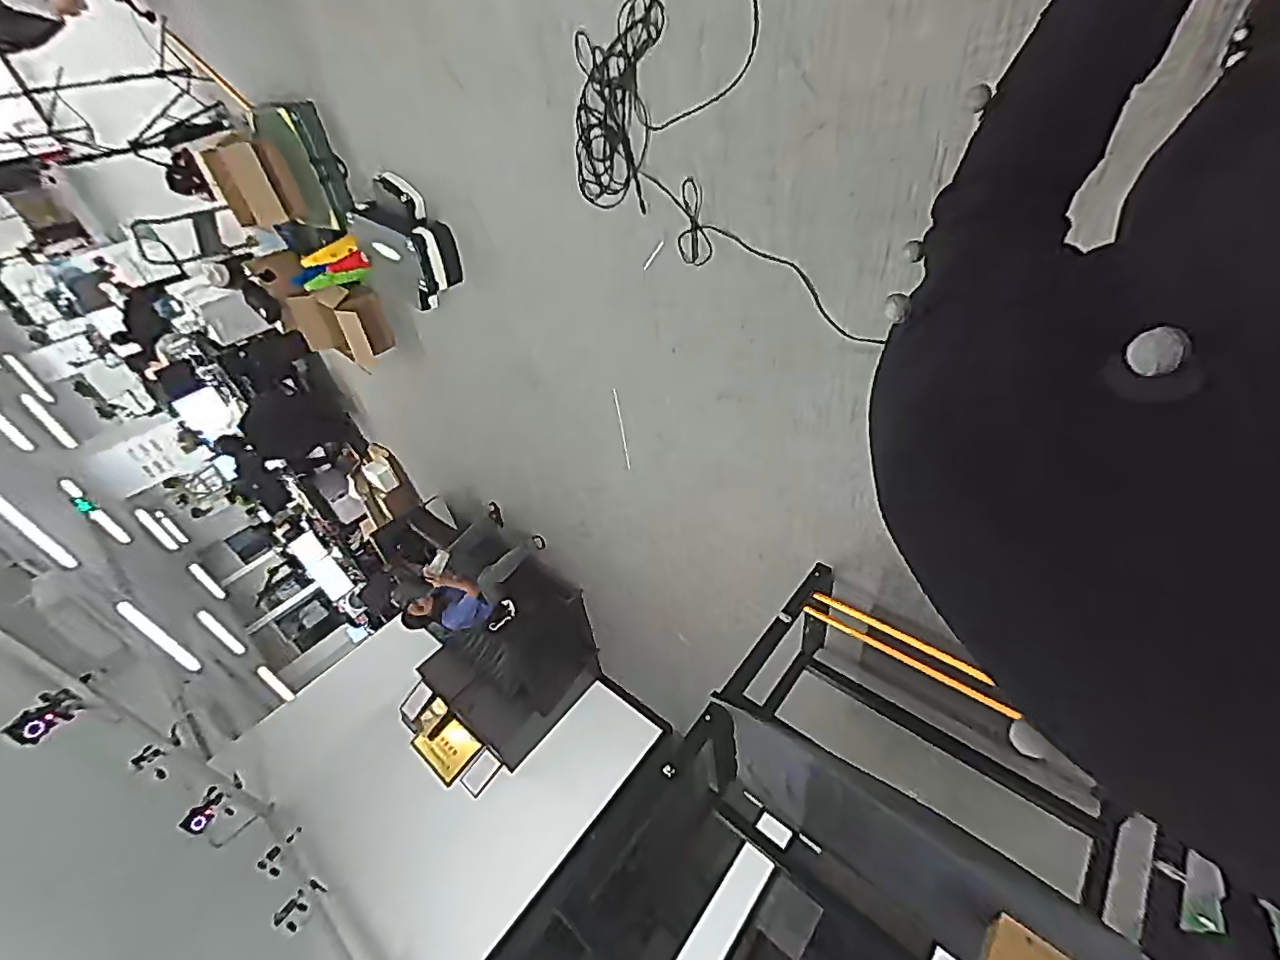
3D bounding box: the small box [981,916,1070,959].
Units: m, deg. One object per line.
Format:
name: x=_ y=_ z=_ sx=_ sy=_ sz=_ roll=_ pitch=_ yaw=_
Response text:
small box: x=0.946 y=1.222 z=1.323 sx=0.168 sy=0.176 sz=0.179 roll=24 pitch=140 yaw=36
